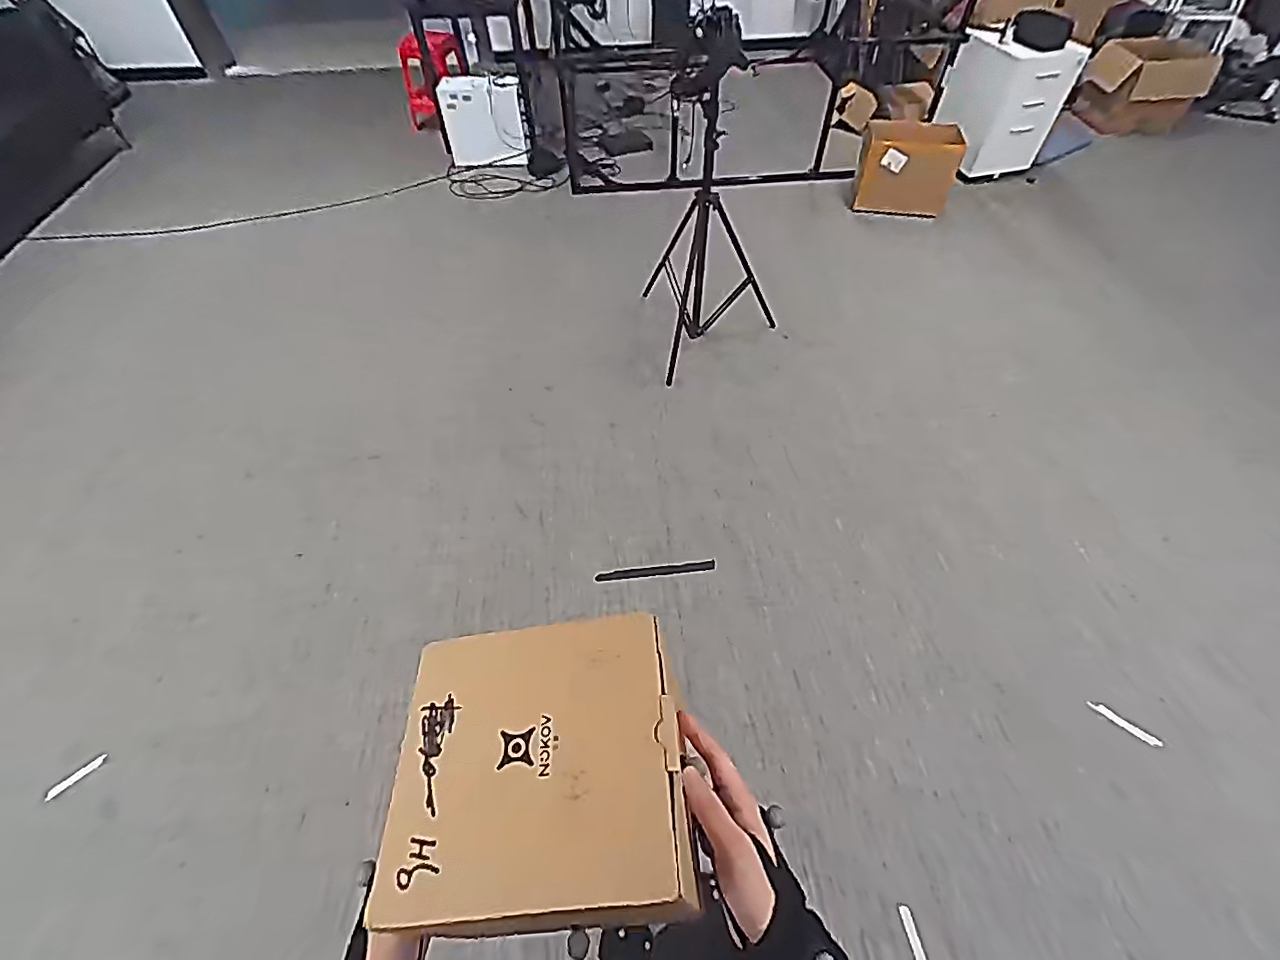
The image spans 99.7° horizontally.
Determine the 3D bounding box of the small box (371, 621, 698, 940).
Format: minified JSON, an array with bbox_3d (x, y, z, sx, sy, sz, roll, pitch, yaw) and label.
[{"bbox_3d":[-0.053,0.223,0.396,0.179,0.176,0.168,-8,48,4],"label":"small box"}]
